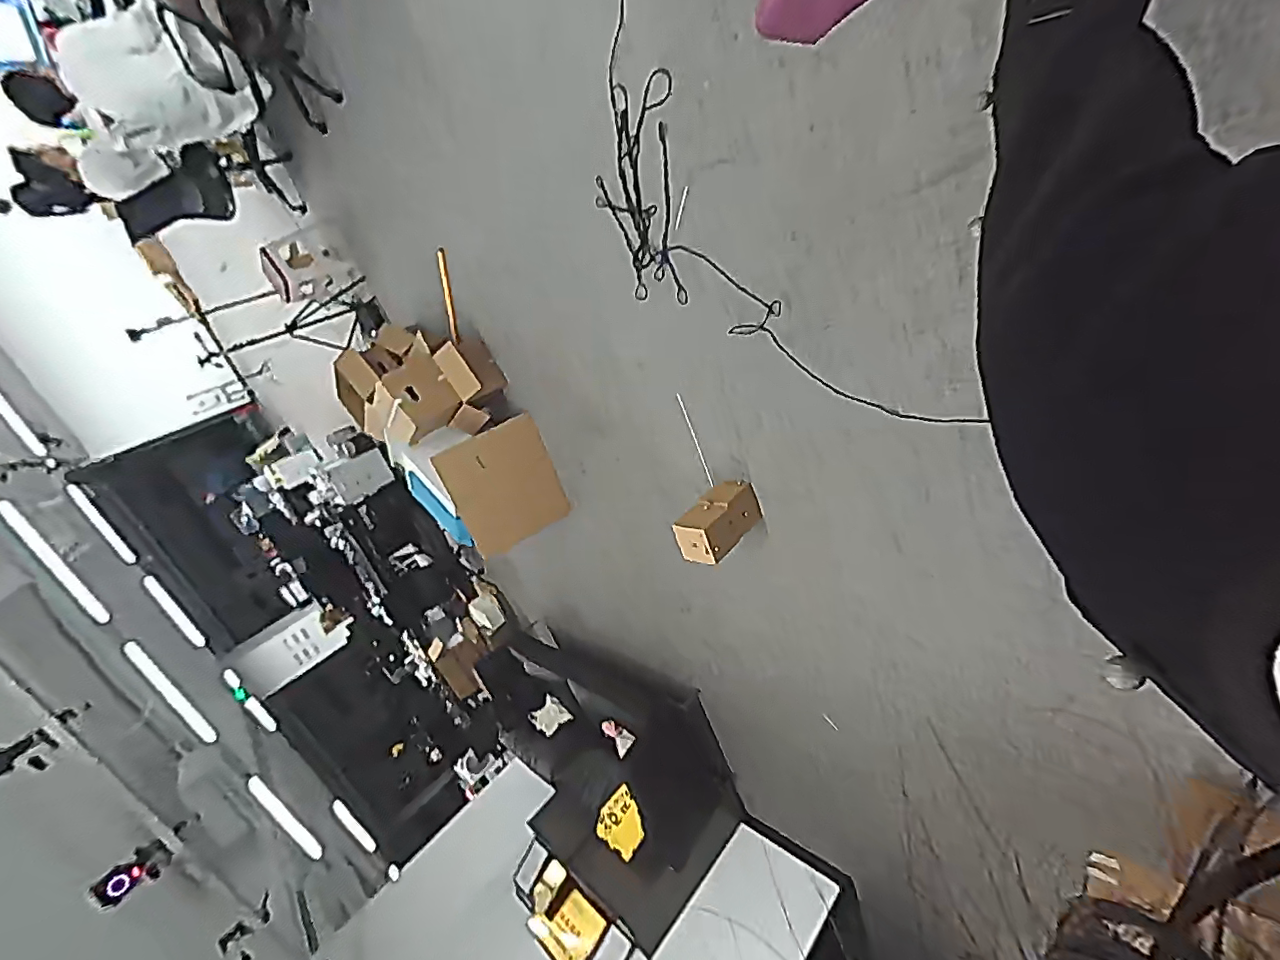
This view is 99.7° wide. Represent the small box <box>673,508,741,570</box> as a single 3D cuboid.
[{"bbox_3d":[0.266,0.226,2.131,0.179,0.176,0.168,5,124,50],"label":"small box"}]

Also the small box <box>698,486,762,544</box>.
[{"bbox_3d":[0.373,0.139,2.219,0.168,0.176,0.179,3,123,50],"label":"small box"}]
